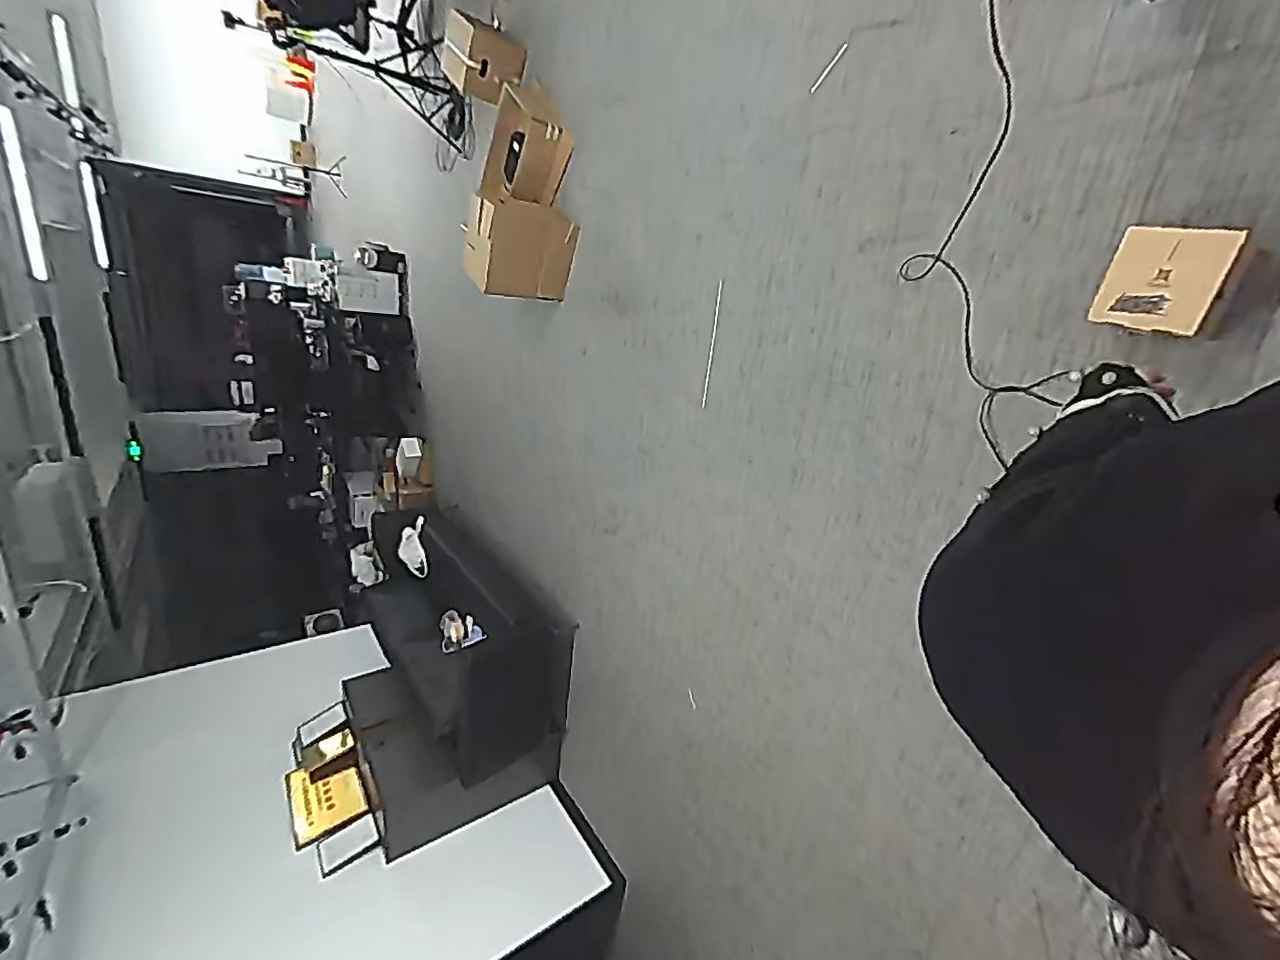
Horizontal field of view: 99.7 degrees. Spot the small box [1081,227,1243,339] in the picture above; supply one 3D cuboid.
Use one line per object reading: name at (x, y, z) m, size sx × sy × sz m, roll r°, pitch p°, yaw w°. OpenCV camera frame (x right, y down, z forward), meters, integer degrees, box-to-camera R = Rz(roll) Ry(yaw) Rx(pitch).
small box at (1.009, -0.376, 1.045) m, size 0.168 × 0.176 × 0.179 m, roll 33°, pitch 120°, yaw 45°
